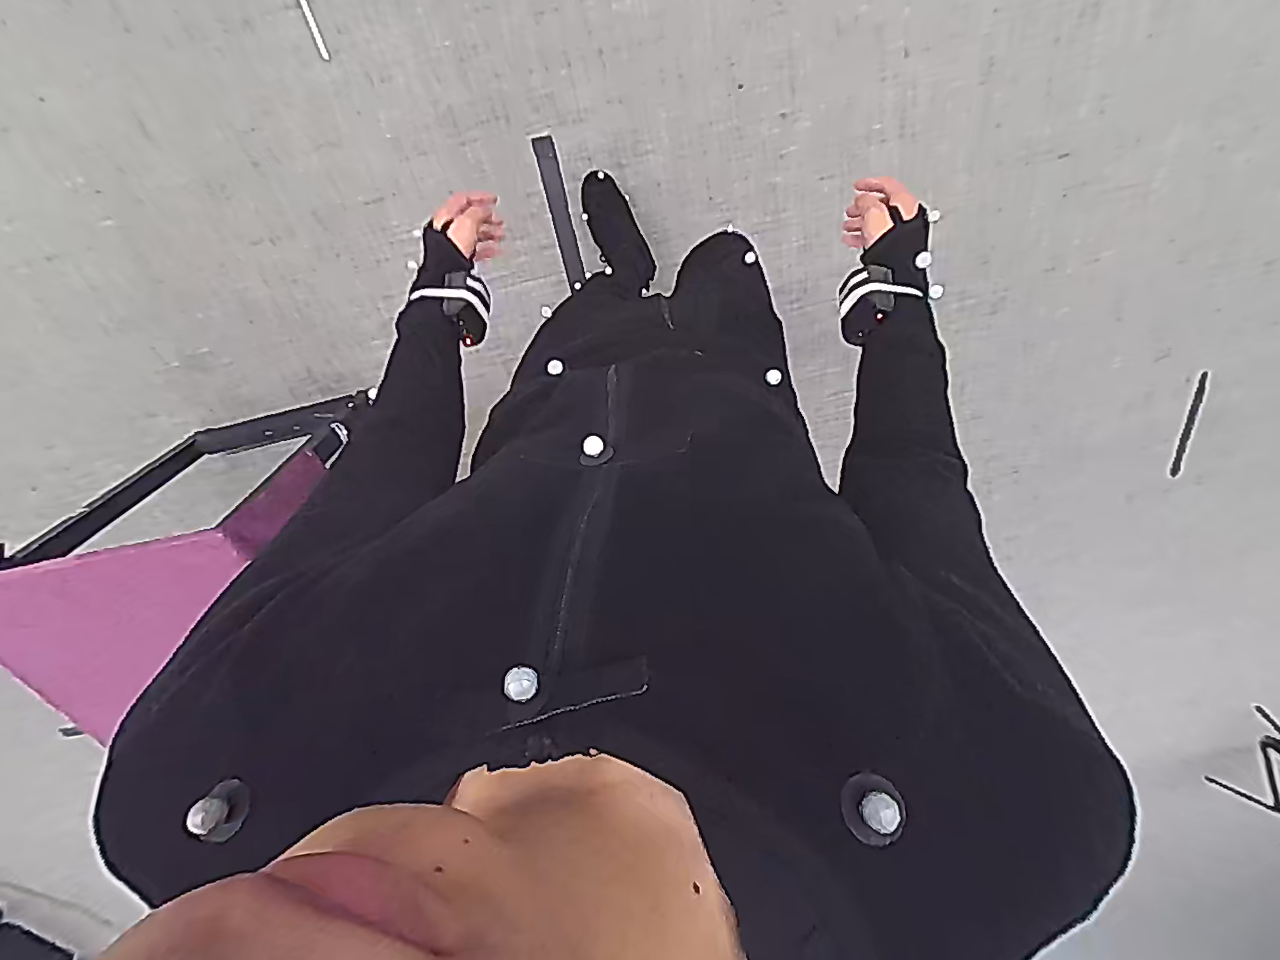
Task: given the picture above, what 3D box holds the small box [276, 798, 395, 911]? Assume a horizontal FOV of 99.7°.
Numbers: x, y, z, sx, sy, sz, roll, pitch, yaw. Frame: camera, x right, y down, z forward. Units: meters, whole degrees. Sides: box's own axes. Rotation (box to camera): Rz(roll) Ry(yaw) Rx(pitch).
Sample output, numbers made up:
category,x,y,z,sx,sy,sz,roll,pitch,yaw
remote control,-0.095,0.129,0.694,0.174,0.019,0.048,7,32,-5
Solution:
category,x,y,z,sx,sy,sz,roll,pitch,yaw
small box,-0.734,0.918,1.334,0.179,0.176,0.168,-20,120,10
